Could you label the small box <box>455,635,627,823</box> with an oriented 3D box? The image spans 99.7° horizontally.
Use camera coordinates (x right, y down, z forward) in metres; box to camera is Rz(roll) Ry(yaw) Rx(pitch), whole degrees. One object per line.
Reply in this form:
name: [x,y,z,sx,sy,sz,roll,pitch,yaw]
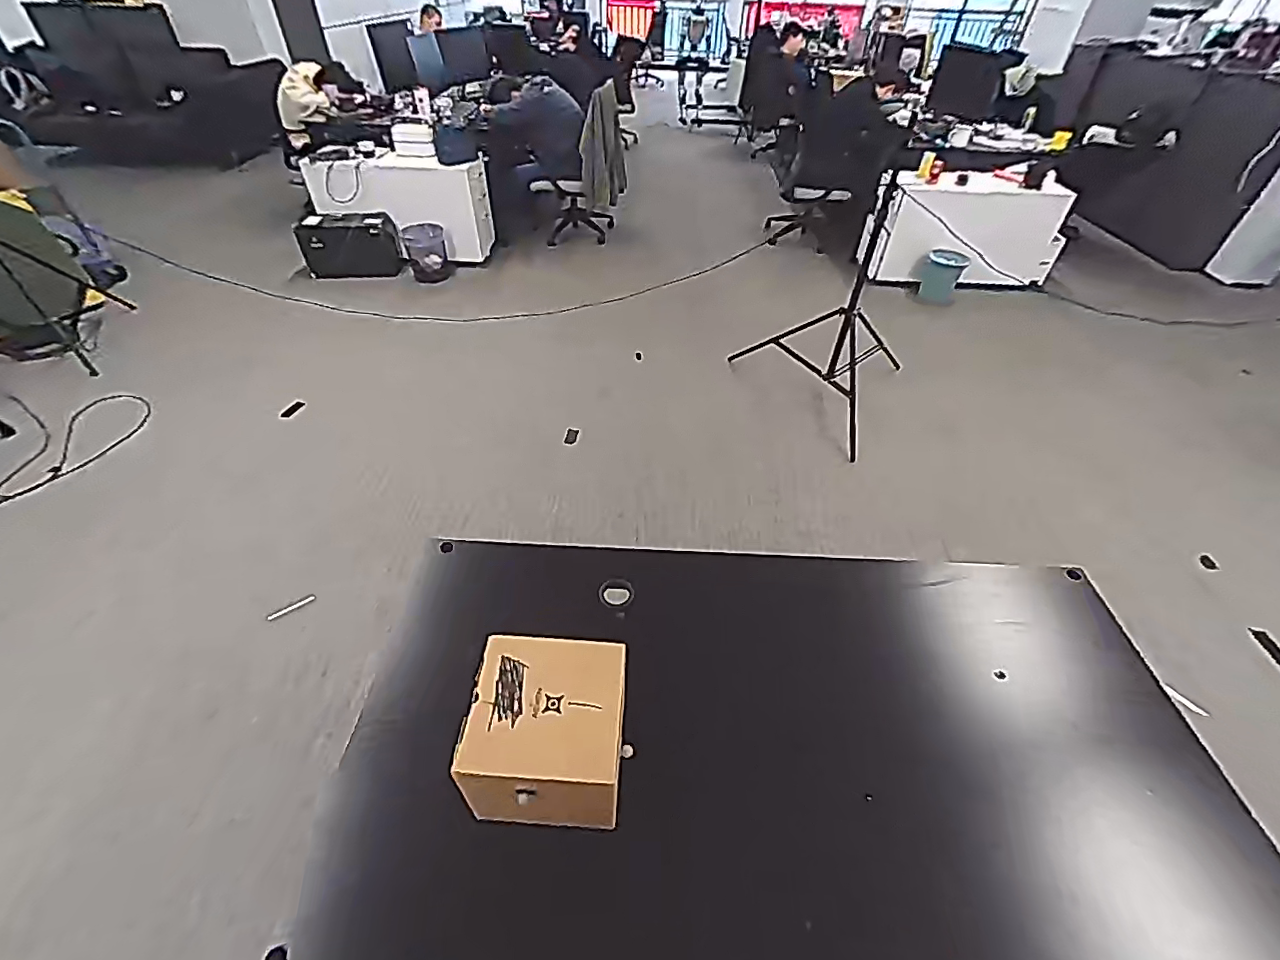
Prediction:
small box: [-0.110,0.317,0.686,0.179,0.176,0.168,4,43,0]
